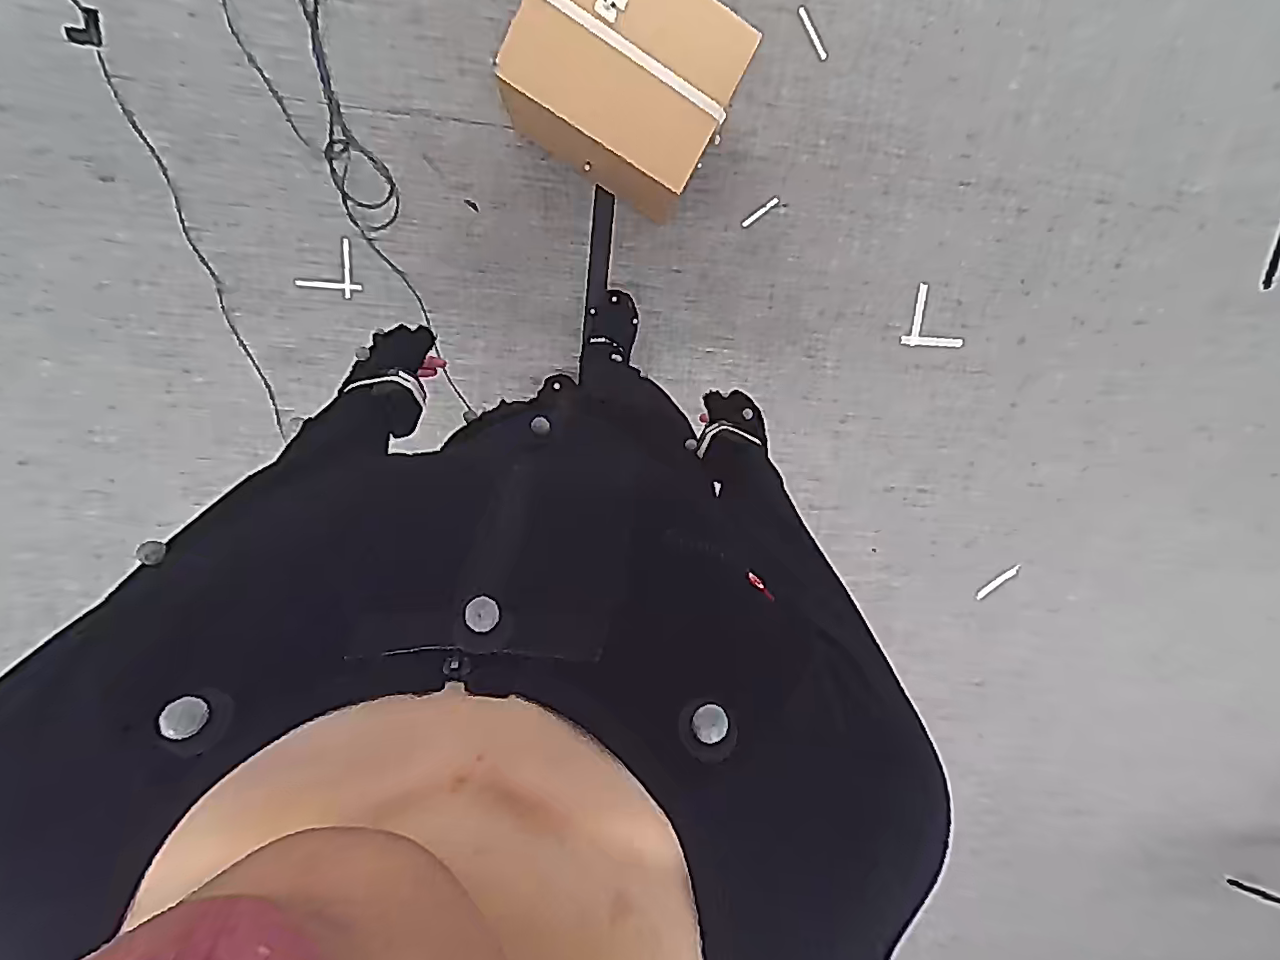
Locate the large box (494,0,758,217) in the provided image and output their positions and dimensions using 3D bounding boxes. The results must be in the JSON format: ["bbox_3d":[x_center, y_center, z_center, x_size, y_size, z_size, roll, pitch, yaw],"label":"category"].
[{"bbox_3d":[-0.033,-0.824,1.136,0.408,0.320,0.320,28,101,-11],"label":"large box"}]
